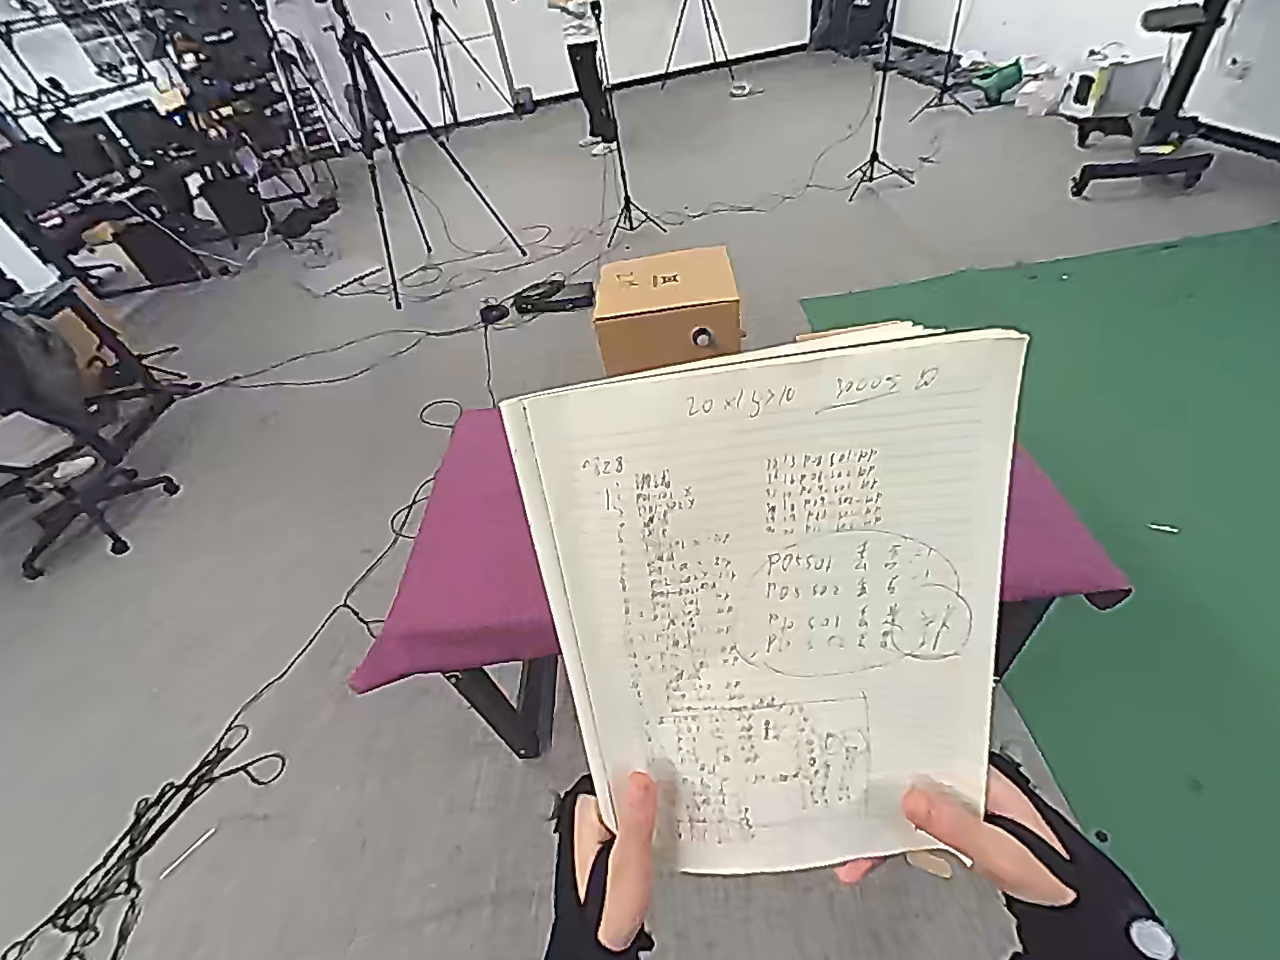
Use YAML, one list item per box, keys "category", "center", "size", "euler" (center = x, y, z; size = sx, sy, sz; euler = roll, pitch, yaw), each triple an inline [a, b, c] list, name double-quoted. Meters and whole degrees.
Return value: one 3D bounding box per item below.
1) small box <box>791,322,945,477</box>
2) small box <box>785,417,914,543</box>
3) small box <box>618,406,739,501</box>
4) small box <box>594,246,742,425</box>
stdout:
- category: "small box"
  center: [0.335, -0.118, 0.835]
  size: [0.168, 0.176, 0.179]
  euler: [-7, 42, 4]
- category: "small box"
  center: [0.355, -0.003, 0.951]
  size: [0.168, 0.176, 0.179]
  euler: [-6, 43, 5]
- category: "small box"
  center: [0.063, -0.080, 0.858]
  size: [0.168, 0.176, 0.179]
  euler: [-7, 43, 6]
- category: "small box"
  center: [0.045, -0.194, 0.740]
  size: [0.179, 0.176, 0.168]
  euler: [-6, 43, 8]
